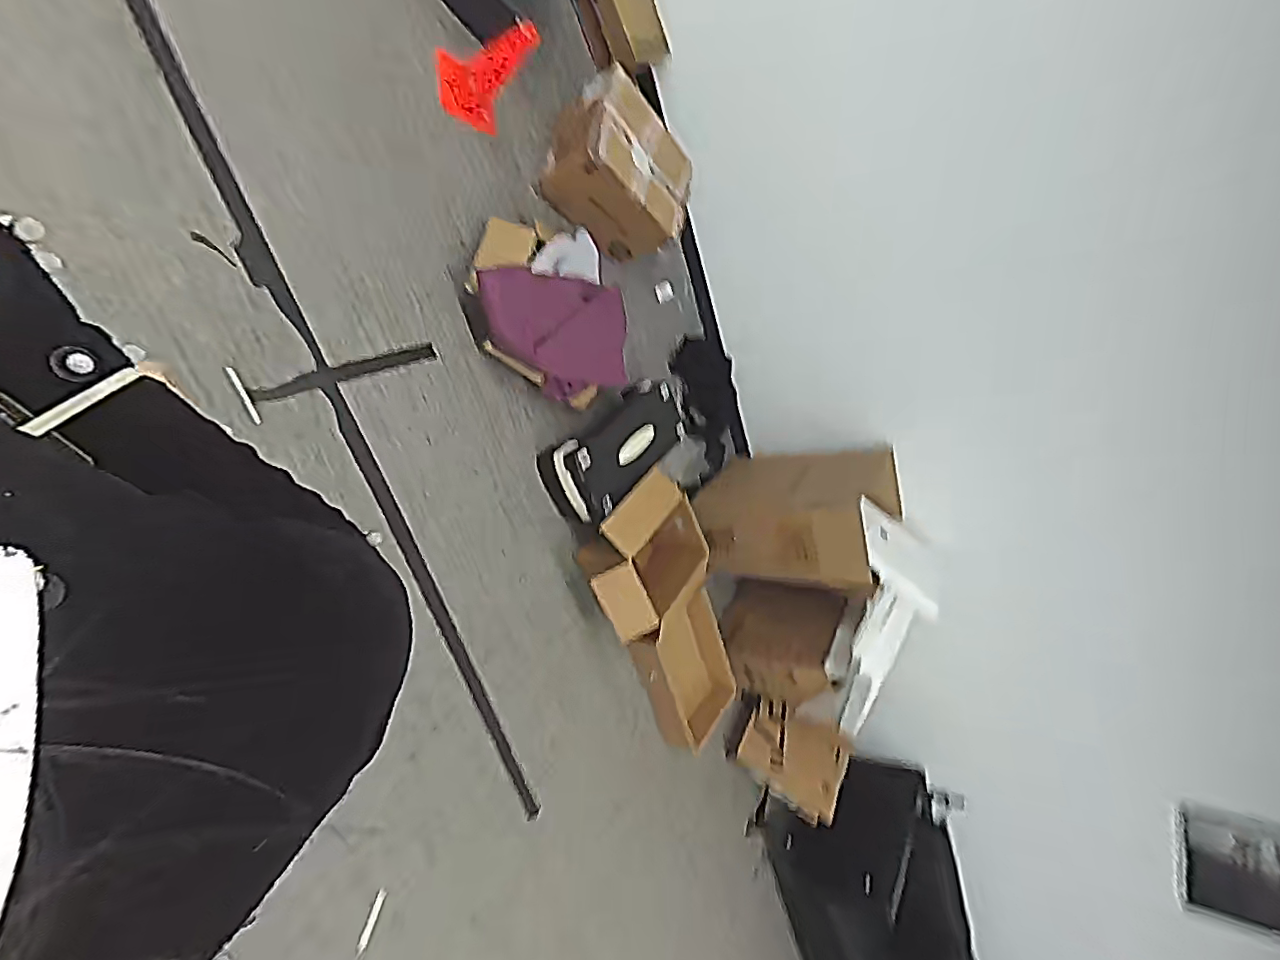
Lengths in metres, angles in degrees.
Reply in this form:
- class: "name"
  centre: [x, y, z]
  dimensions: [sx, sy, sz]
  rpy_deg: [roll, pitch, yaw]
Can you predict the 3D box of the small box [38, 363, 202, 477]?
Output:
- class: "small box"
  centre: [-1.027, -0.117, 1.068]
  dimensions: [0.179, 0.176, 0.168]
  rpy_deg: [-40, 116, -42]
